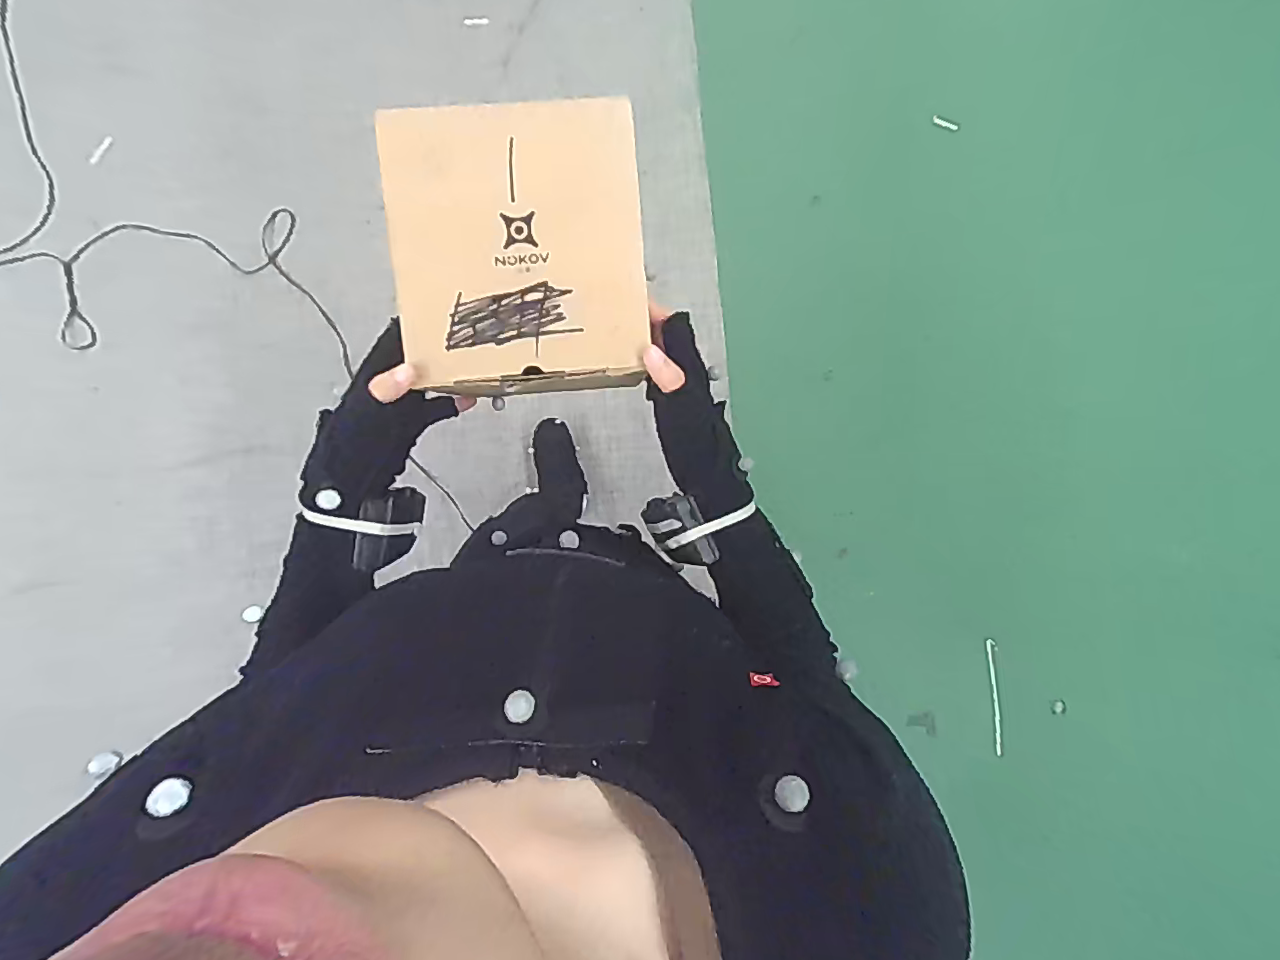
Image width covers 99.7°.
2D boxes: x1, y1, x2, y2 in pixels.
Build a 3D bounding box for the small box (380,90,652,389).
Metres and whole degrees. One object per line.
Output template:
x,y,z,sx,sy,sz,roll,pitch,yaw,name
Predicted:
-0.081,-0.166,0.431,0.168,0.176,0.179,-5,95,-3,small box
